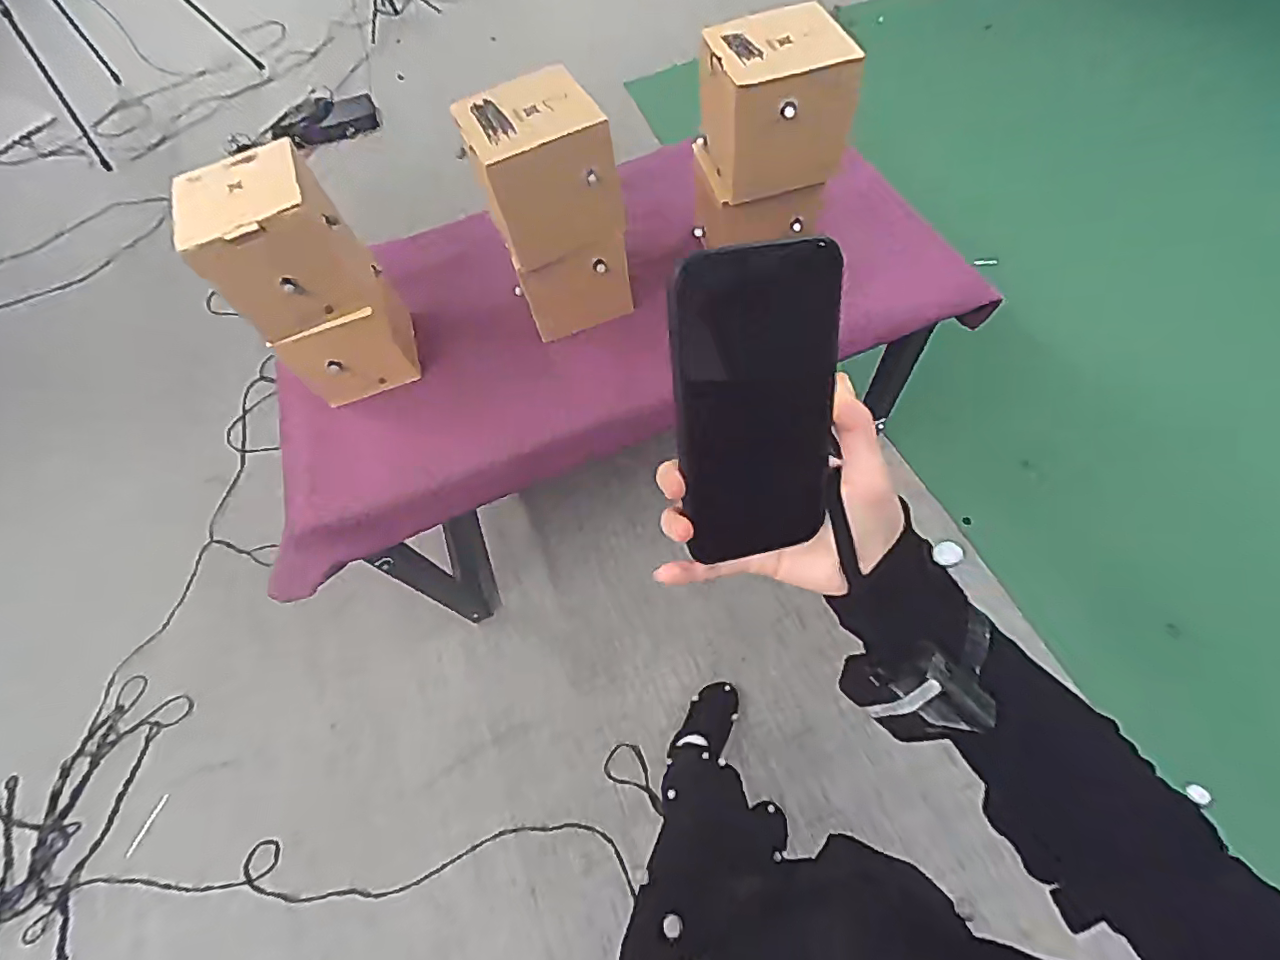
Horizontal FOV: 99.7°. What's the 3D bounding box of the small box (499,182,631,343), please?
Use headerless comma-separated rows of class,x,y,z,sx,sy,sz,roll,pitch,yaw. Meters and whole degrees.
small box,-0.121,-0.371,0.939,0.179,0.176,0.168,-20,62,-3

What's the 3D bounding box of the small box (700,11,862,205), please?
small box,0.197,-0.542,0.802,0.179,0.176,0.168,-15,61,-1

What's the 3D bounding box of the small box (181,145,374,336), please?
small box,-0.516,-0.335,0.786,0.168,0.176,0.179,-24,63,-6

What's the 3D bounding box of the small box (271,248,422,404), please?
small box,-0.494,-0.253,0.927,0.168,0.176,0.179,-20,62,-3

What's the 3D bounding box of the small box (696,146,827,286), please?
small box,0.202,-0.476,0.953,0.179,0.176,0.168,-15,61,0
